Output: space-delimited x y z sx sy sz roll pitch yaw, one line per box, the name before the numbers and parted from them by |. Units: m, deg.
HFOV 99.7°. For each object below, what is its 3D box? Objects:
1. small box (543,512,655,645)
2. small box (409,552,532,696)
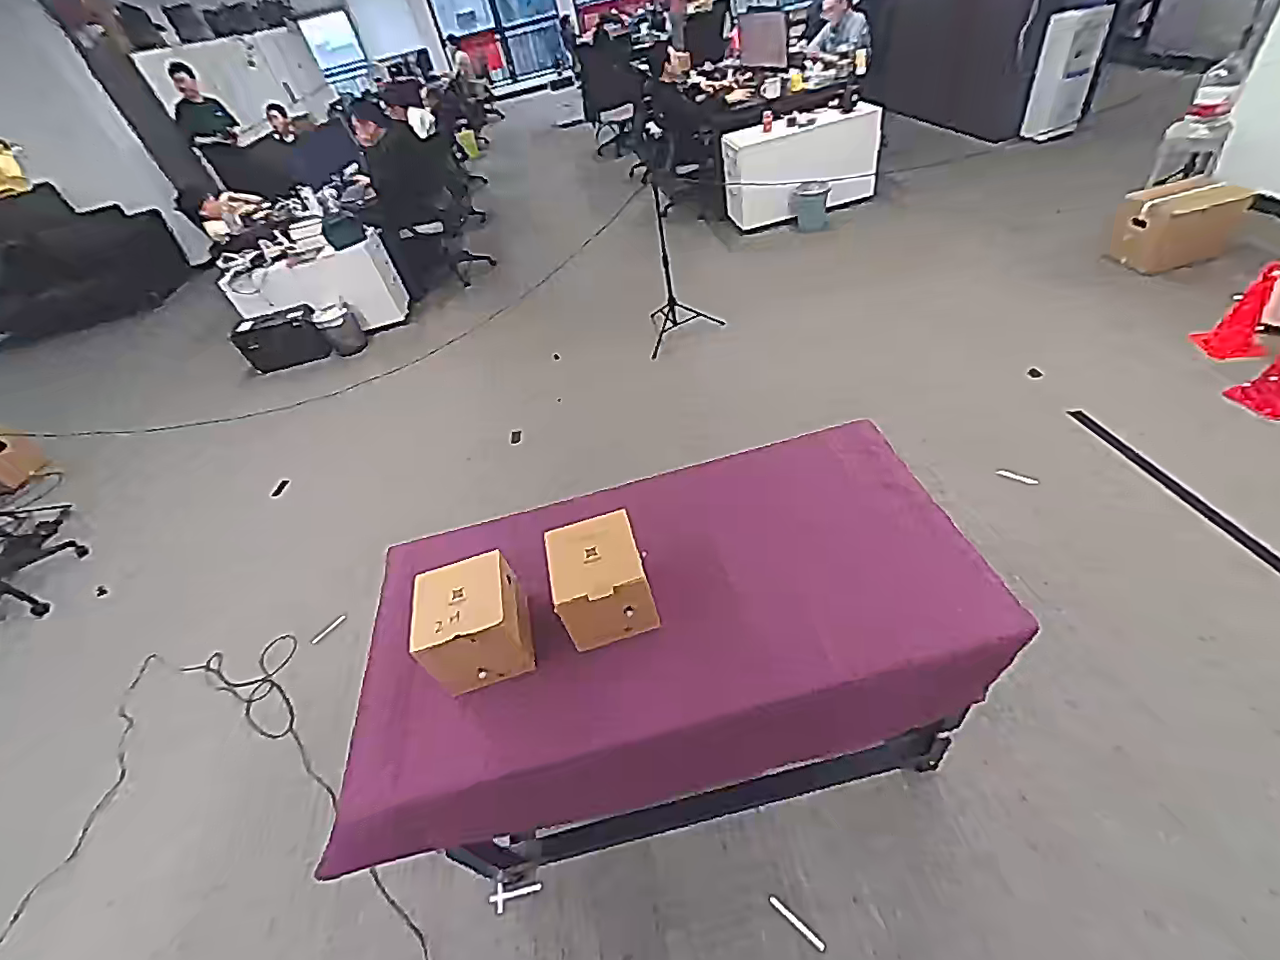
small box | -0.076 0.196 1.043 0.168 0.176 0.179 -16 43 -3
small box | -0.314 0.273 1.025 0.168 0.176 0.179 -18 43 -3
